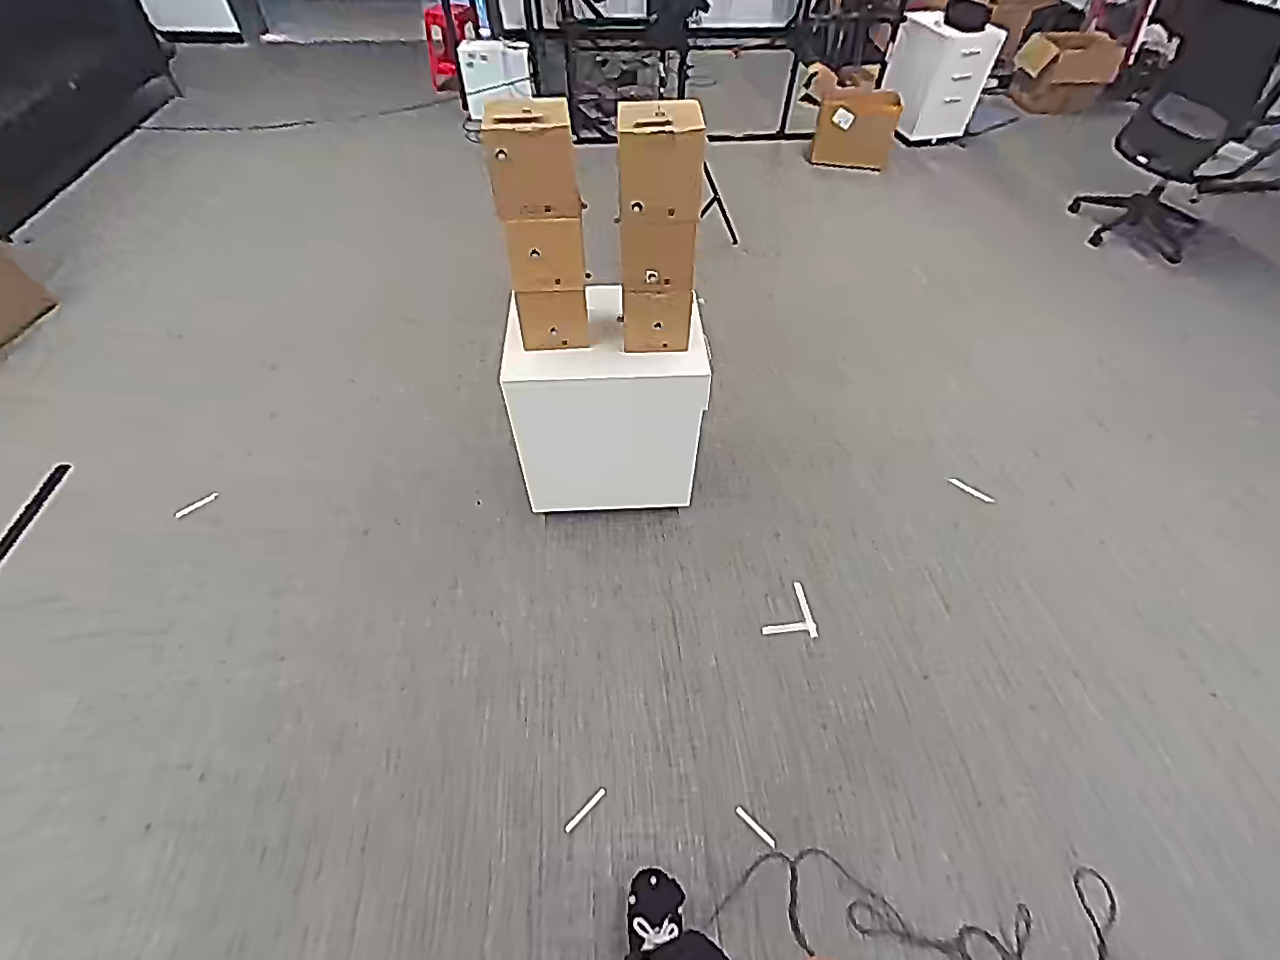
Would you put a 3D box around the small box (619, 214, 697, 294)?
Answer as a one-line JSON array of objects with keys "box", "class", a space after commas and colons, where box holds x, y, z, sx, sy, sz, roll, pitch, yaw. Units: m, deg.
[{"box": [0.037, -0.548, 1.239, 0.168, 0.176, 0.179, -3, 52, -1], "class": "small box"}]

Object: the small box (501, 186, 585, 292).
[{"box": [-0.214, -0.544, 1.233, 0.168, 0.176, 0.179, -3, 51, -4], "class": "small box"}]

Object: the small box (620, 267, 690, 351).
[{"box": [0.036, -0.439, 1.362, 0.168, 0.176, 0.179, -2, 53, -1], "class": "small box"}]

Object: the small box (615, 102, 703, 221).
[{"box": [0.038, -0.648, 1.109, 0.168, 0.176, 0.179, -1, 50, 0], "class": "small box"}]
